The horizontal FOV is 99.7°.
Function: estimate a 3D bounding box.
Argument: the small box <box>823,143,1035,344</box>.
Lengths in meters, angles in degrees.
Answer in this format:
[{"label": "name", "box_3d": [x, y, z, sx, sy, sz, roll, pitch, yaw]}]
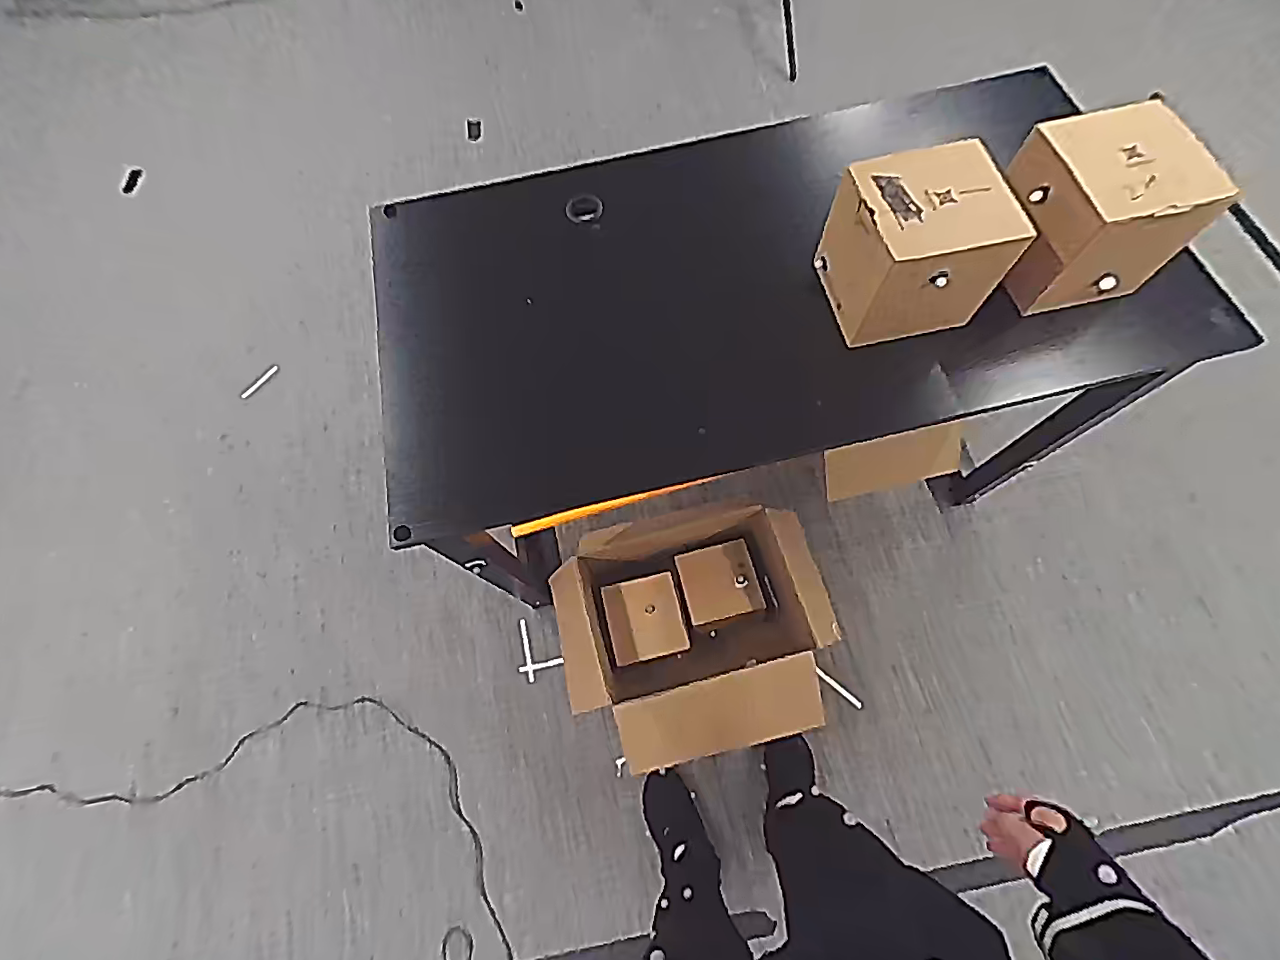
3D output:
[{"label": "small box", "box_3d": [0.360, -0.303, 0.721, 0.179, 0.176, 0.168, -11, 69, -2]}]

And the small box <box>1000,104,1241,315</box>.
[{"label": "small box", "box_3d": [0.600, -0.353, 0.725, 0.168, 0.176, 0.179, -12, 68, 0]}]
